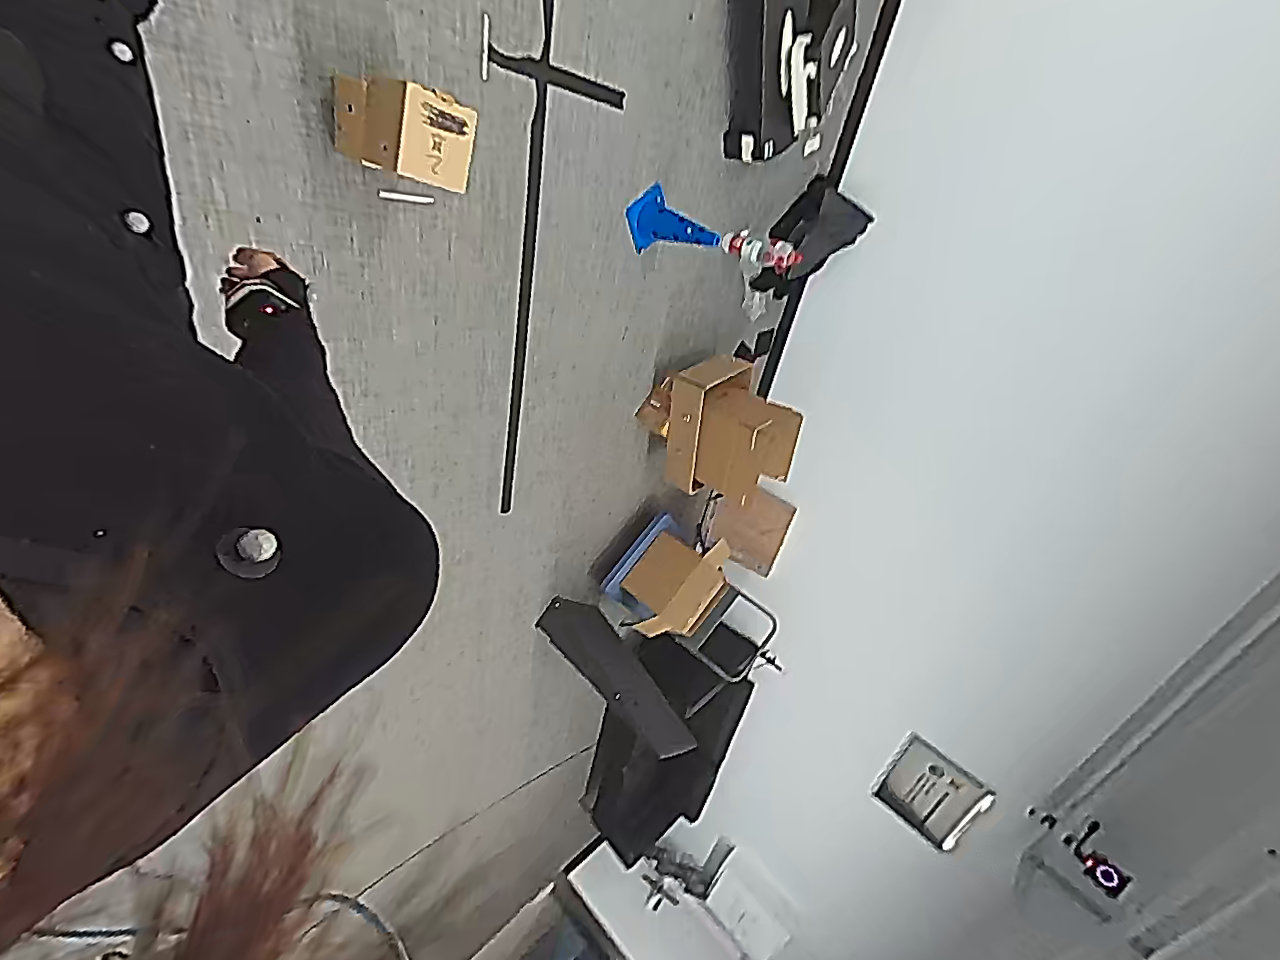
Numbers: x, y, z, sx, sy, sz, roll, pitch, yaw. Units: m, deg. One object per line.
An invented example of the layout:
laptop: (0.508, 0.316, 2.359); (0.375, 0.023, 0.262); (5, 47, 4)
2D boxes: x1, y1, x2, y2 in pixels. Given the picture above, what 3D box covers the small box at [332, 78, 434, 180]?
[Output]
small box: (-0.625, -0.847, 1.306); (0.179, 0.176, 0.168); (-16, 131, -46)
